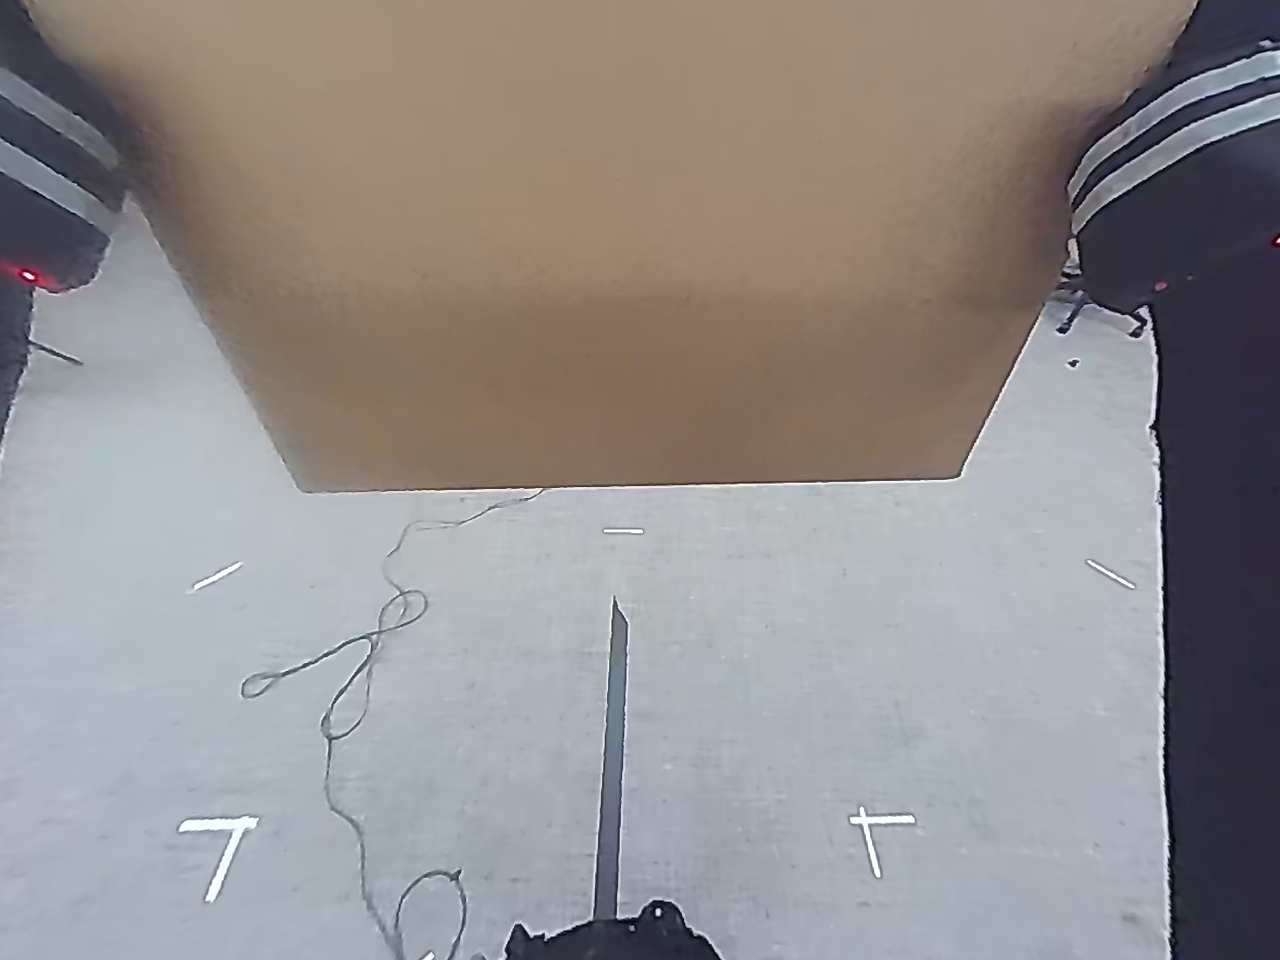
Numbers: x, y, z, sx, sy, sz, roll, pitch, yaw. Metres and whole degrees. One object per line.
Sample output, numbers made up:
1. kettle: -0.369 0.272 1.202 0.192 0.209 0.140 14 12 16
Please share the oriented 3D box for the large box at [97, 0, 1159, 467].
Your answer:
1. large box: -0.006 -0.221 0.354 0.408 0.320 0.320 -1 41 -2
